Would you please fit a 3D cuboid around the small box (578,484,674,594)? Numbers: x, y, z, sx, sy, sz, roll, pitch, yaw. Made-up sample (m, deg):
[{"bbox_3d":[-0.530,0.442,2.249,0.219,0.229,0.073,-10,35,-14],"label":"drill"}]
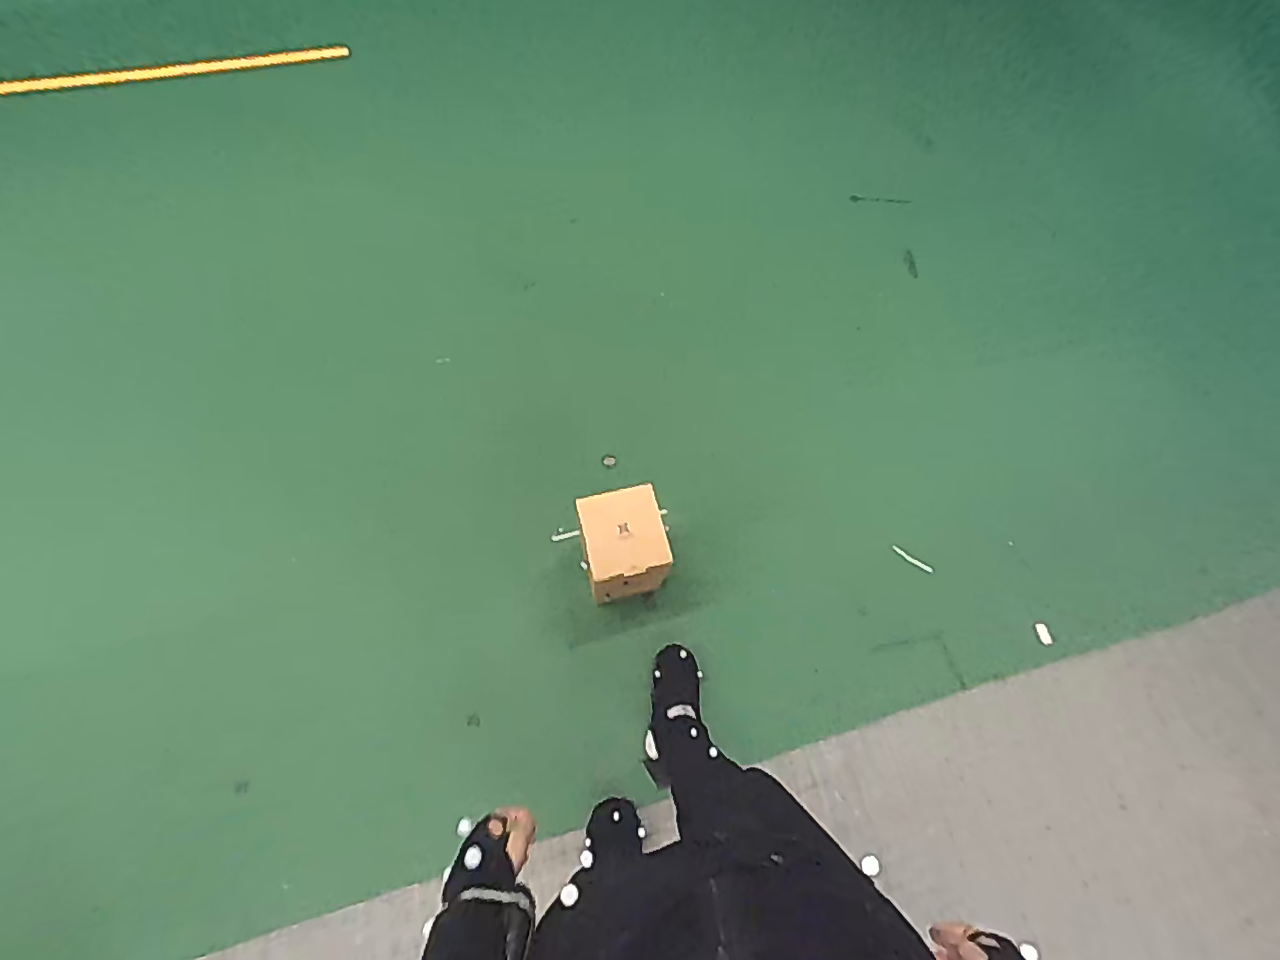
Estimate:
[{"bbox_3d":[-0.036,0.132,1.171,0.168,0.176,0.179,-13,70,-9],"label":"small box"}]
